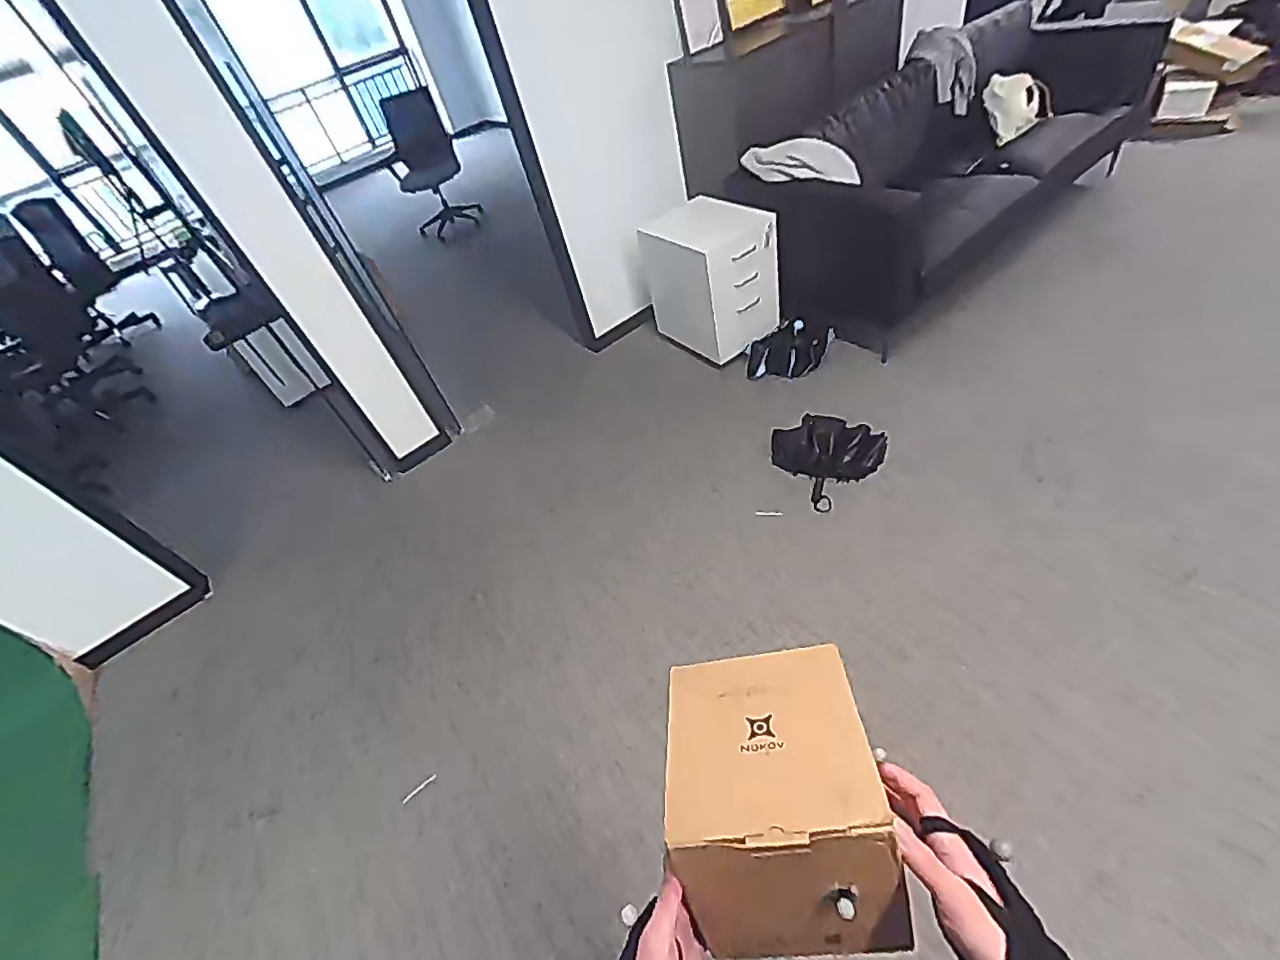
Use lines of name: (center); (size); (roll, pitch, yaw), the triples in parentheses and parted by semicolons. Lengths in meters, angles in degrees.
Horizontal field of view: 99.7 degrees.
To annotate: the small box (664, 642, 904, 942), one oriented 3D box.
small box: (0.124, 0.280, 0.489); (0.168, 0.176, 0.179); (-12, 24, 10)
